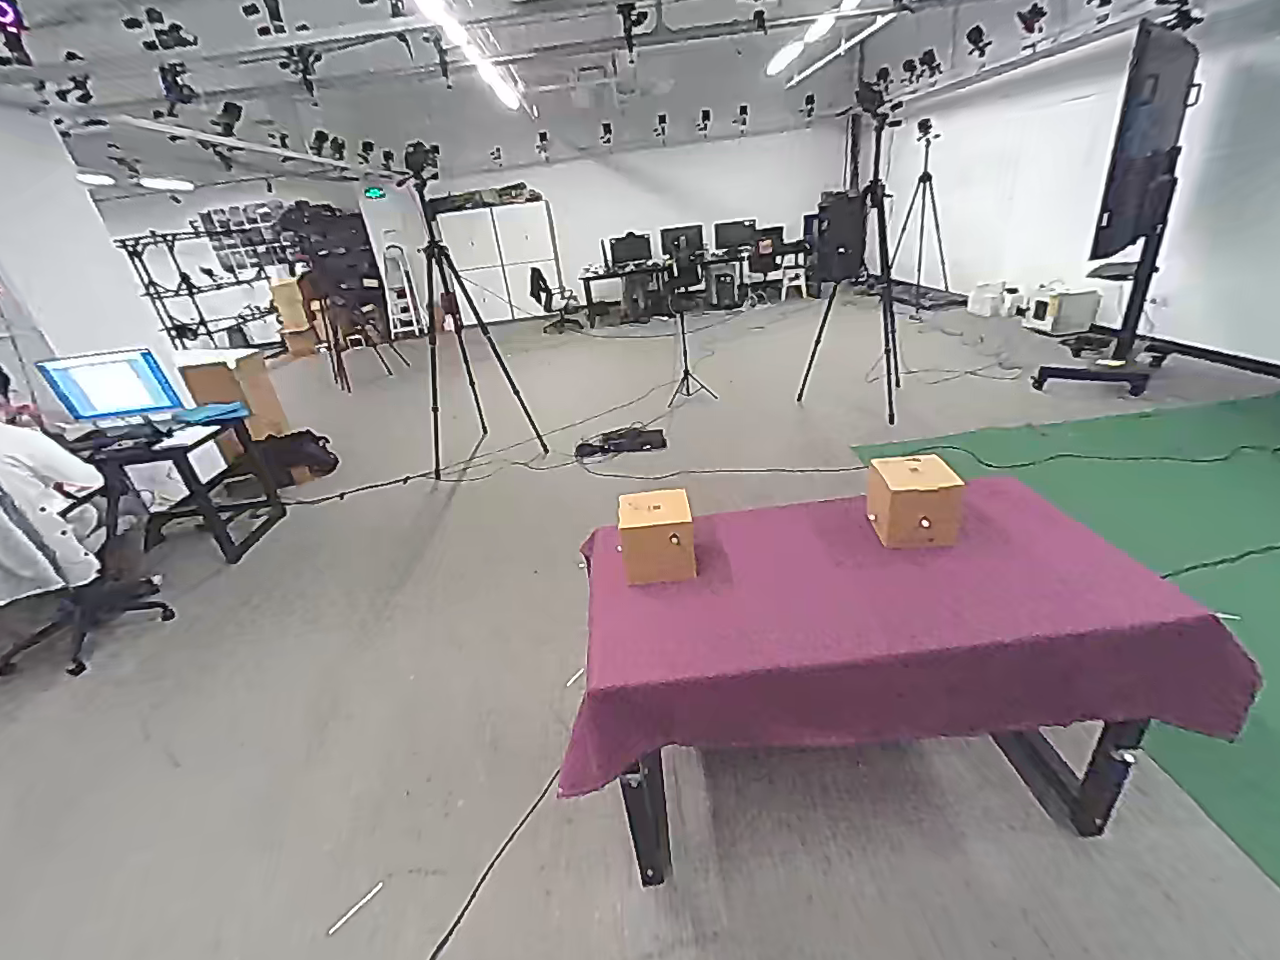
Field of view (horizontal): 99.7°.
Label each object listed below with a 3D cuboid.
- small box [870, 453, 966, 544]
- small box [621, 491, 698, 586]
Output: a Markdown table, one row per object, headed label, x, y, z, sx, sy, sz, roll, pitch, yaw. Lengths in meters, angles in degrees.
| label | x | y | z | sx | sy | sz | roll | pitch | yaw |
| --- | --- | --- | --- | --- | --- | --- | --- | --- | --- |
| small box | 0.689 | 0.051 | 1.358 | 0.168 | 0.176 | 0.179 | -4 | 27 | 8 |
| small box | 0.052 | 0.148 | 1.359 | 0.179 | 0.176 | 0.168 | -7 | 26 | 3 |
